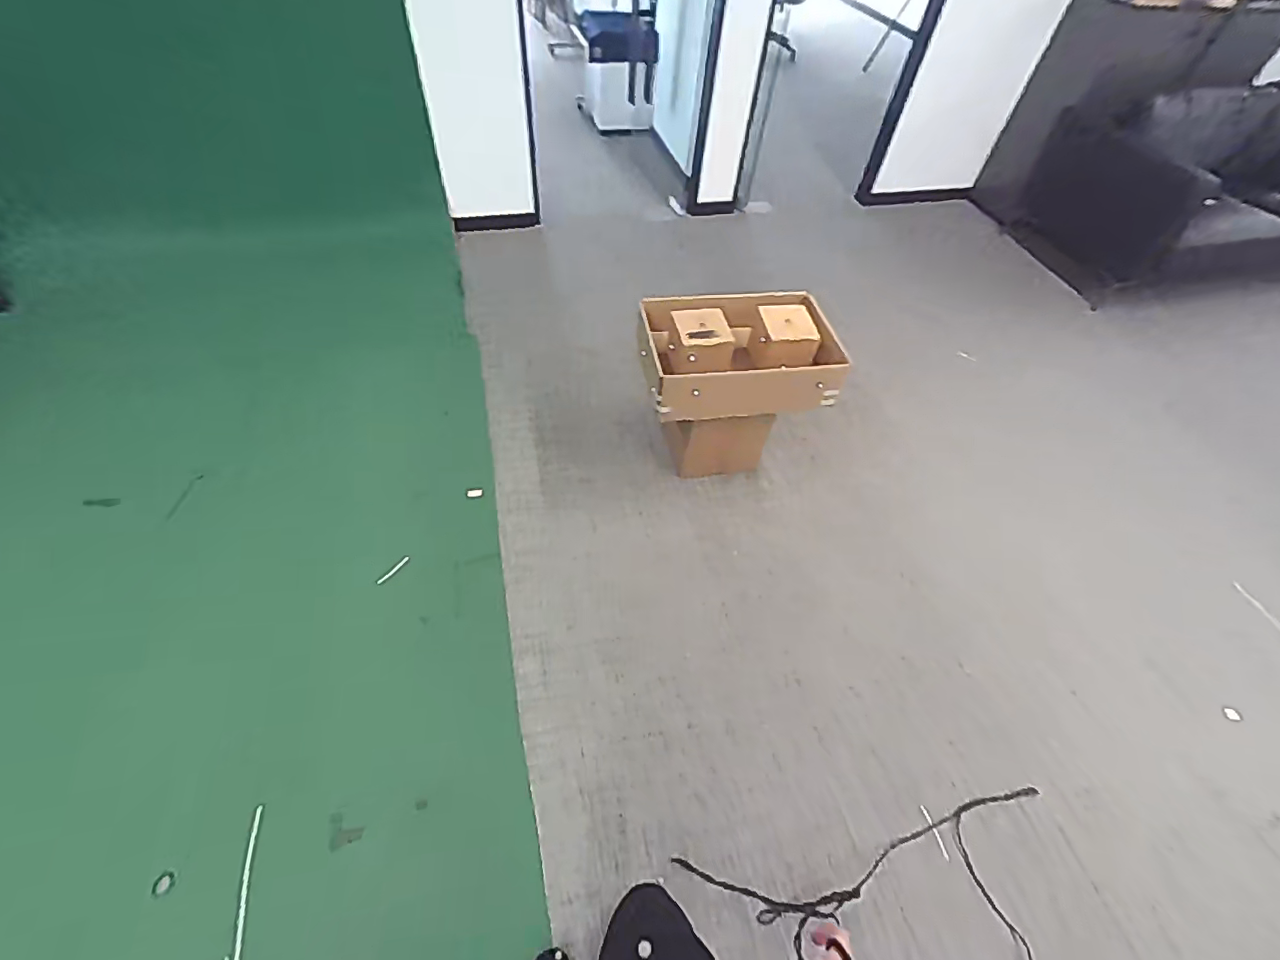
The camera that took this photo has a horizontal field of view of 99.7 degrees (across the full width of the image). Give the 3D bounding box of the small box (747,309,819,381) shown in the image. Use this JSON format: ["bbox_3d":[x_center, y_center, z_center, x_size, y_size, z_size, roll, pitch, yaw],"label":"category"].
[{"bbox_3d":[0.468,-0.449,1.805,0.168,0.176,0.179,-4,53,-9],"label":"small box"}]
